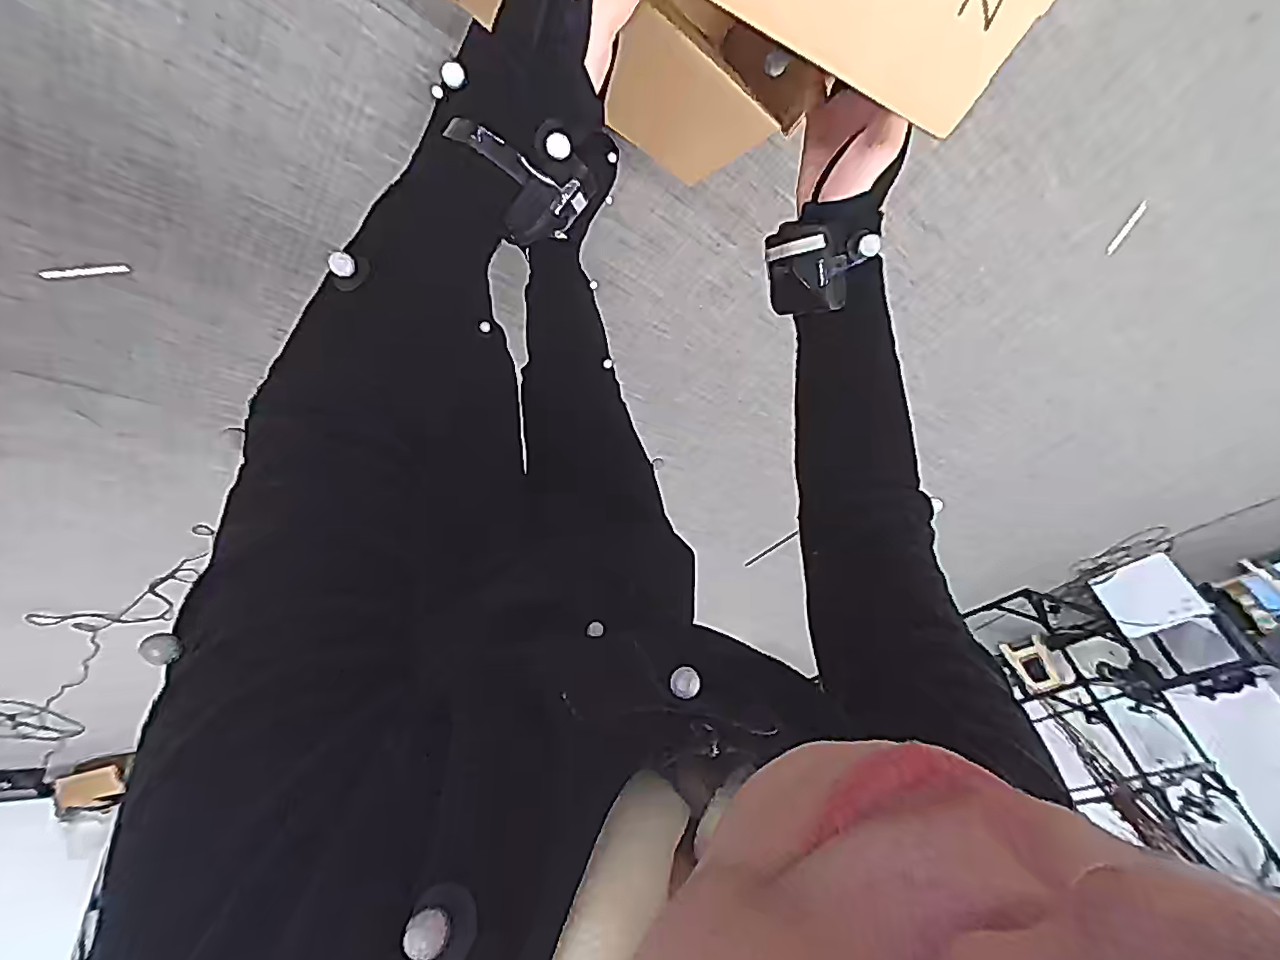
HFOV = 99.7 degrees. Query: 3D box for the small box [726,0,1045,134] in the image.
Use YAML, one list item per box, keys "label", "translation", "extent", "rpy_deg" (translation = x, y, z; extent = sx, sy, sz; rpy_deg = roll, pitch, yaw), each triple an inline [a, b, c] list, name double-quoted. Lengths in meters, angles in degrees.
- label: "small box"
  translation: [0.110, -0.315, 0.261]
  extent: [0.179, 0.176, 0.168]
  rpy_deg: [7, 139, -27]
